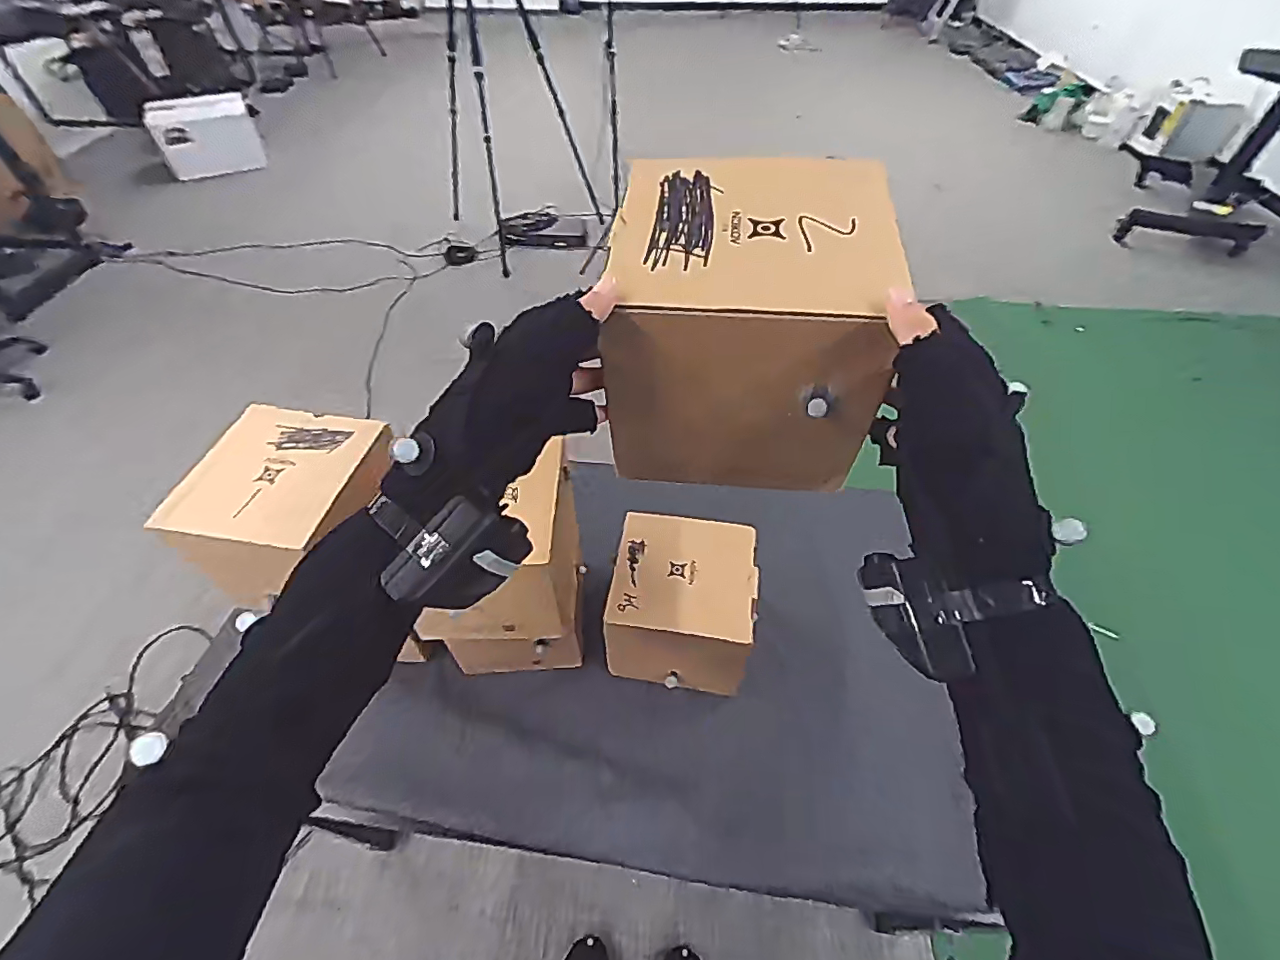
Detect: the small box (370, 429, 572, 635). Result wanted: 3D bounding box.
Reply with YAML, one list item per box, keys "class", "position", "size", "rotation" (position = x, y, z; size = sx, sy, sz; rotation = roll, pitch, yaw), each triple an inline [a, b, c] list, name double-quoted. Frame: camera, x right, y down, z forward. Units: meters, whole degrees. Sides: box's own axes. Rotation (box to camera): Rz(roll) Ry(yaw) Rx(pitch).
- class: "small box"
  position: [-0.168, 0.062, 0.607]
  size: [0.168, 0.176, 0.179]
  rotation: [0, 49, -2]
